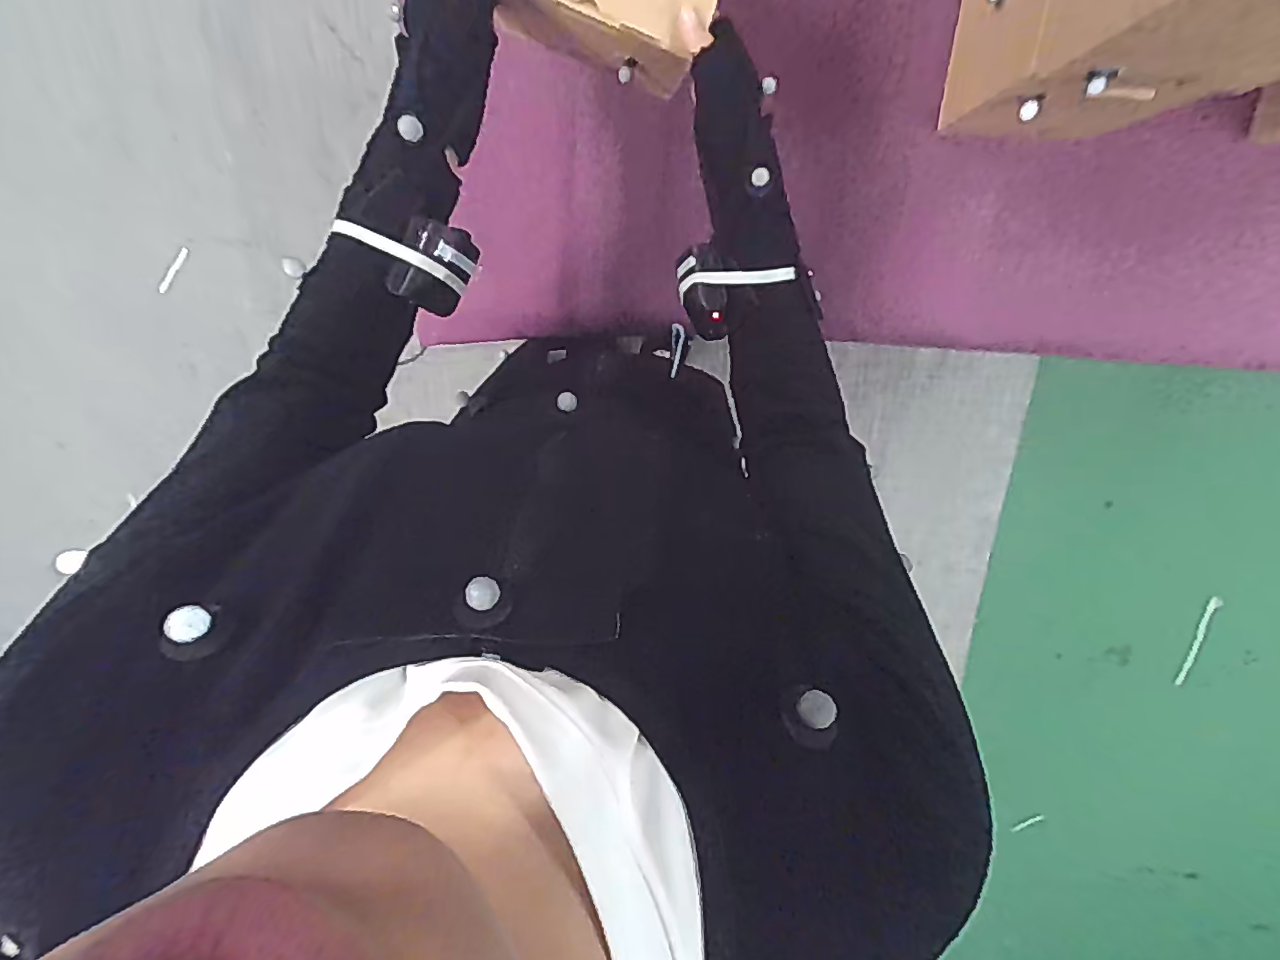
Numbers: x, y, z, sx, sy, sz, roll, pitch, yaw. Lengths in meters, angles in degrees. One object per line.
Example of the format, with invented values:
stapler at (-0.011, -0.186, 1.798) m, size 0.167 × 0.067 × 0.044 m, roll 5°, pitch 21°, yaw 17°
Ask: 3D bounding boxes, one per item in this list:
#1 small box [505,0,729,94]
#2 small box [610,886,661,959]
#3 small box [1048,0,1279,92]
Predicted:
small box at (-0.005, -0.413, 0.387) m, size 0.168 × 0.176 × 0.179 m, roll 15°, pitch 115°, yaw -12°
small box at (-0.017, 1.590, 1.933) m, size 0.168 × 0.176 × 0.179 m, roll -5°, pitch 110°, yaw 2°
small box at (0.403, -0.369, 0.335) m, size 0.168 × 0.176 × 0.179 m, roll 3°, pitch 108°, yaw 1°
